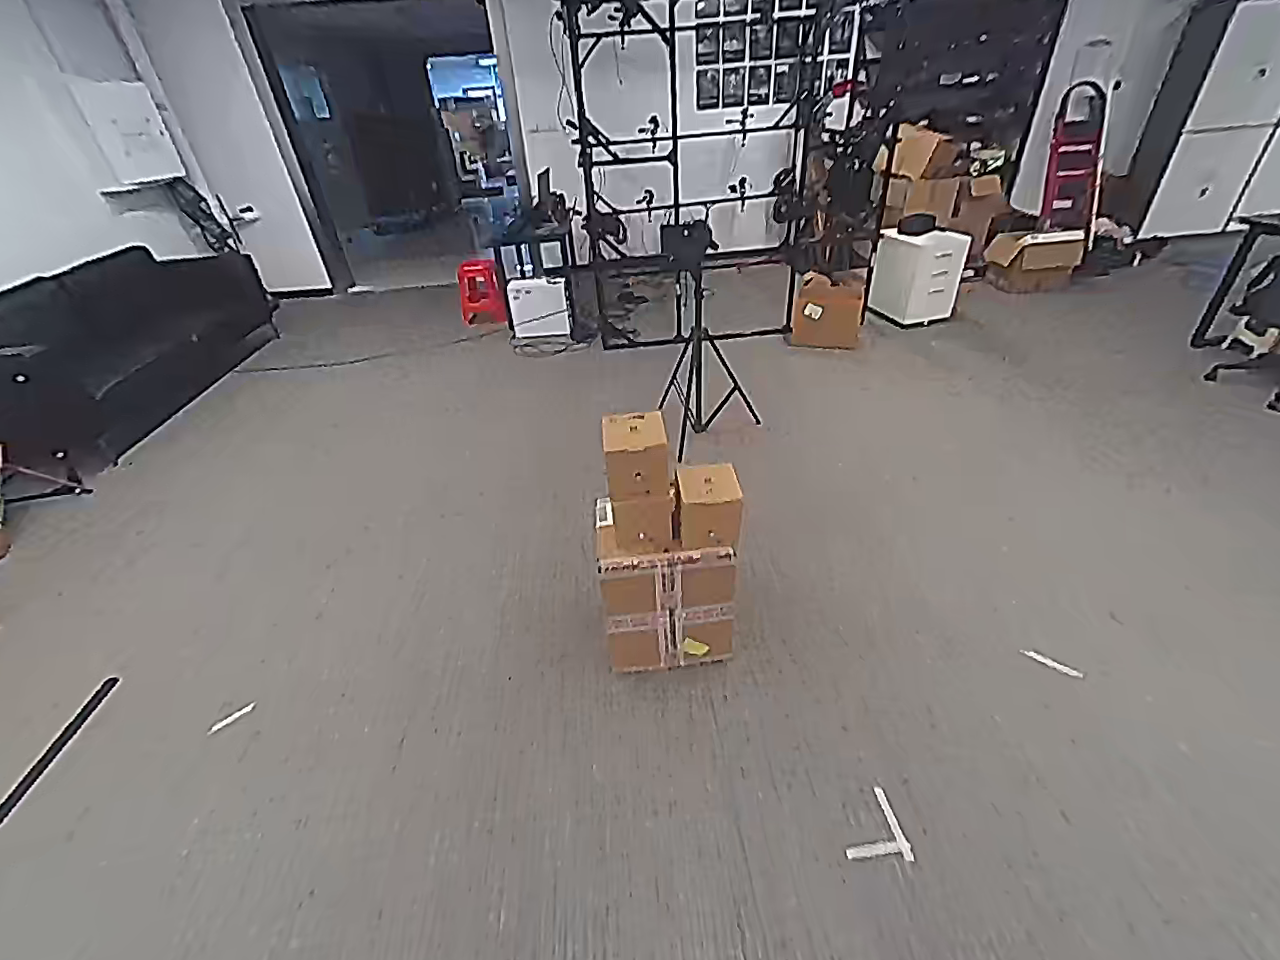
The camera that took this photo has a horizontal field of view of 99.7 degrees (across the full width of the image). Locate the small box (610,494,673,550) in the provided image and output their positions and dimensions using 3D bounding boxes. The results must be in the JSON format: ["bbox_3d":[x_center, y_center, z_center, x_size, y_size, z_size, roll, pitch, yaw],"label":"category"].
[{"bbox_3d":[0.000,0.080,1.571,0.168,0.176,0.179,-8,38,-2],"label":"small box"}]

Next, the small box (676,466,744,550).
[{"bbox_3d":[0.193,0.079,1.552,0.168,0.176,0.179,-5,37,-2],"label":"small box"}]

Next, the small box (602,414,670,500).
[{"bbox_3d":[-0.010,-0.058,1.483,0.168,0.176,0.179,-7,38,-1],"label":"small box"}]
